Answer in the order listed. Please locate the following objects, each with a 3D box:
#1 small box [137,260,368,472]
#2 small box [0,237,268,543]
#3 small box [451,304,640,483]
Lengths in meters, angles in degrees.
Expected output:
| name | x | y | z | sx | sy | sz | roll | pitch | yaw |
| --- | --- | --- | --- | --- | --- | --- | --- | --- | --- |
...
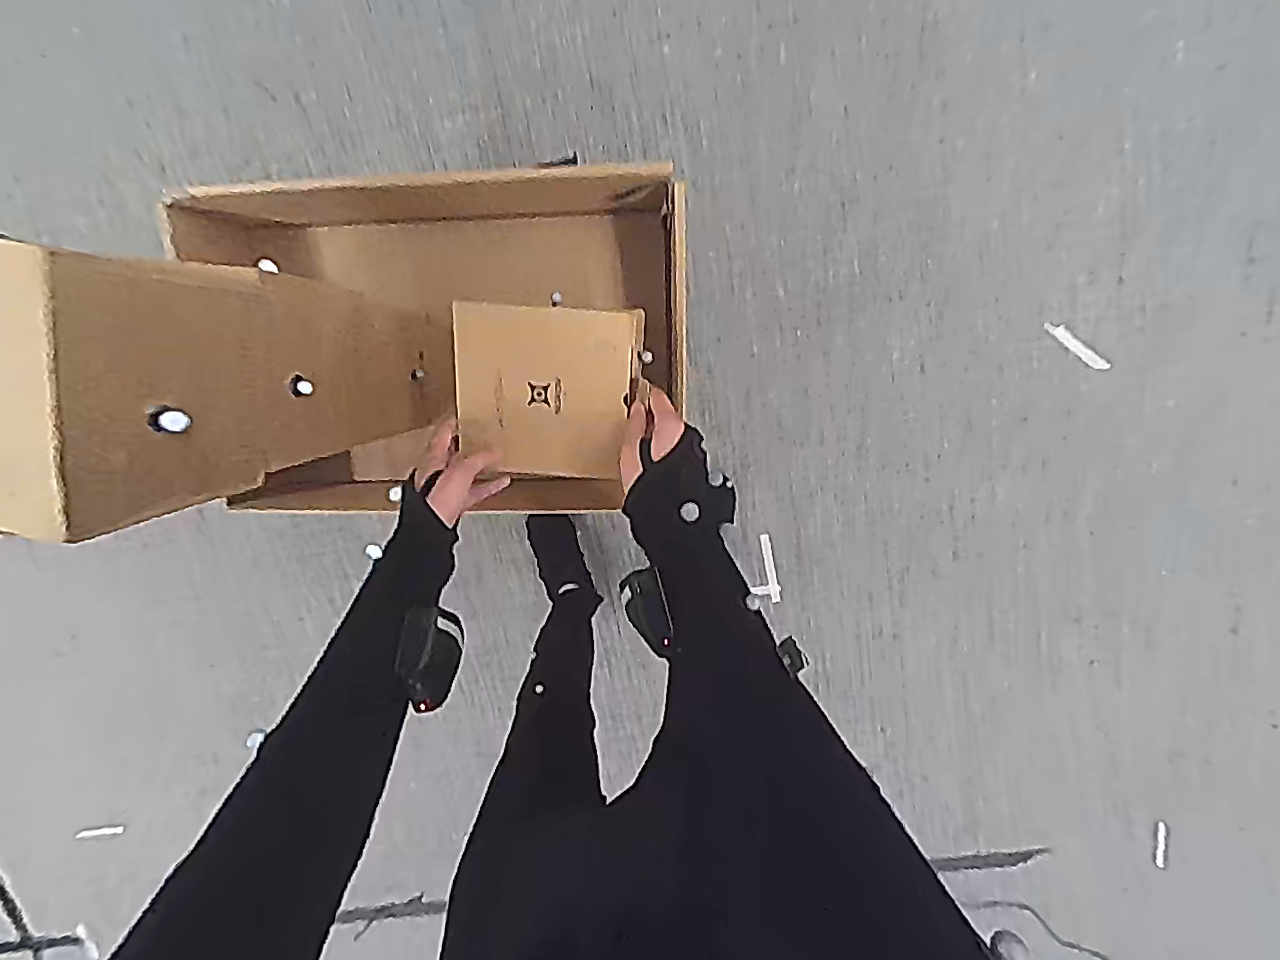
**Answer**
| name | x | y | z | sx | sy | sz | roll | pitch | yaw |
| --- | --- | --- | --- | --- | --- | --- | --- | --- | --- |
| small box | -0.402 | -0.118 | 0.556 | 0.168 | 0.176 | 0.179 | 6 | 102 | 2 |
| small box | -0.409 | -0.075 | 0.397 | 0.168 | 0.176 | 0.179 | 10 | 104 | 1 |
| small box | -0.093 | -0.105 | 0.604 | 0.179 | 0.176 | 0.168 | 5 | 108 | 2 |
